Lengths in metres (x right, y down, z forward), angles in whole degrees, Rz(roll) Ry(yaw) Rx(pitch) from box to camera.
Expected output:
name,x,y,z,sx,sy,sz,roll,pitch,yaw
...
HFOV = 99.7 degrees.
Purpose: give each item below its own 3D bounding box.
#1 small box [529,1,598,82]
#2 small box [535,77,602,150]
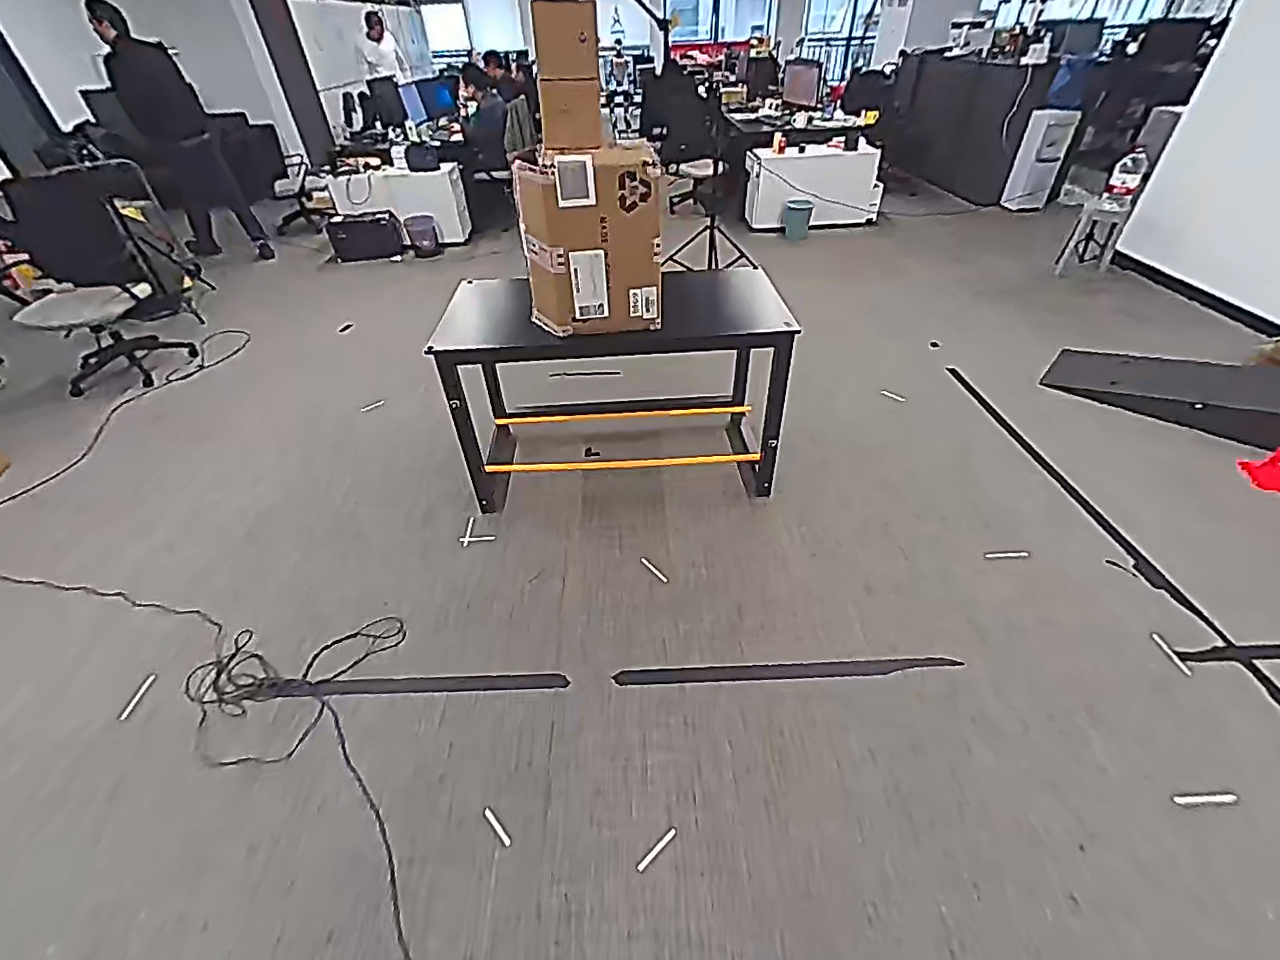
name,x,y,z,sx,sy,sz,roll,pitch,yaw
small box,-0.212,-1.221,1.510,0.179,0.176,0.168,-7,37,-6
small box,-0.210,-1.094,1.615,0.179,0.176,0.168,-5,38,-4
